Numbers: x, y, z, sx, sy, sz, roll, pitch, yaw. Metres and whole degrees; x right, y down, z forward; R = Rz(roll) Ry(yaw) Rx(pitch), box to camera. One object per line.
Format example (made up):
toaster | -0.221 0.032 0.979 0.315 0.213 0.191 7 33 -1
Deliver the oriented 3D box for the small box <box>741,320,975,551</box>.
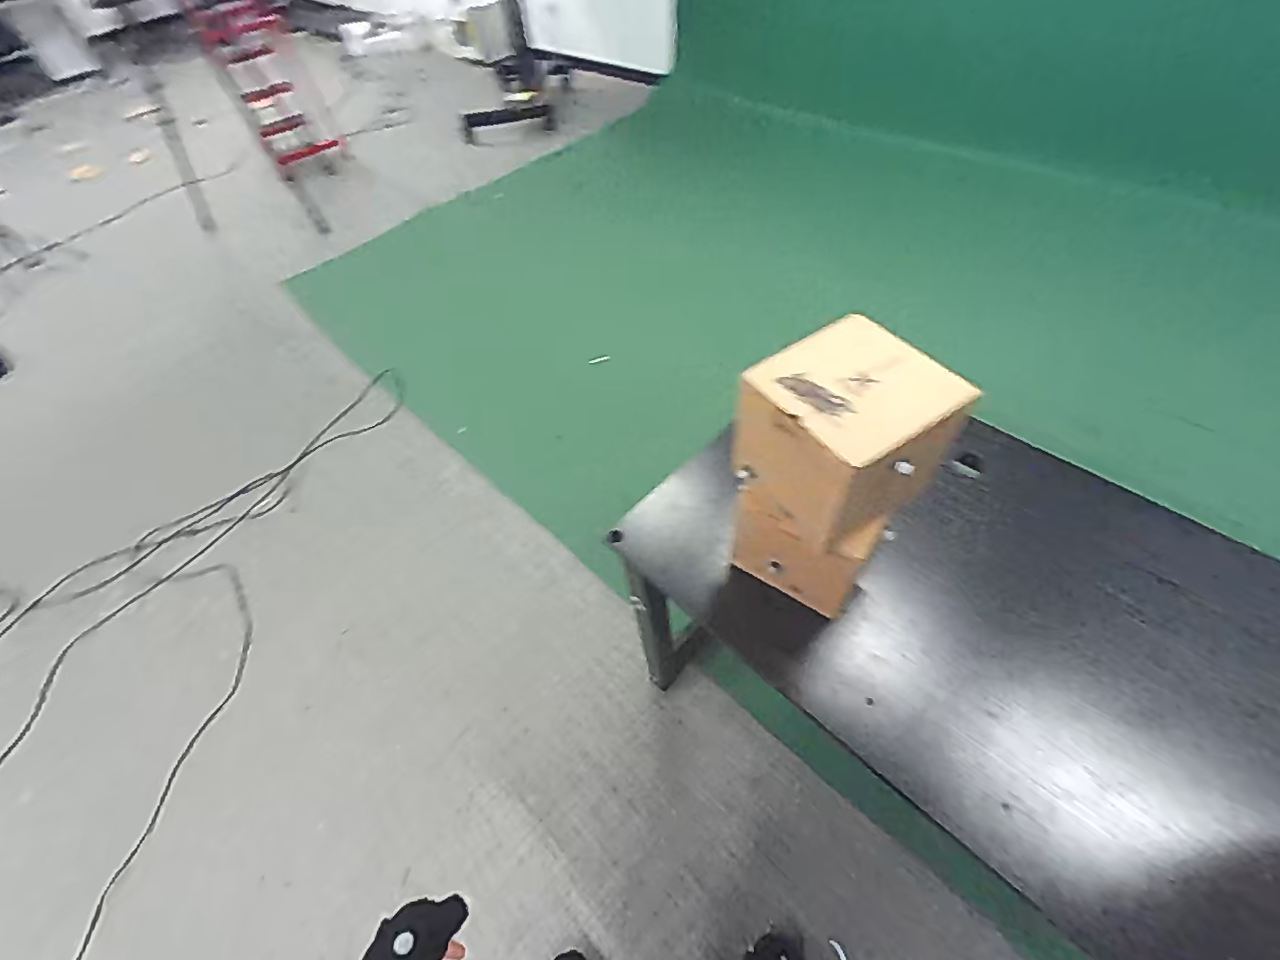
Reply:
small box | 0.233 -0.048 0.629 0.179 0.176 0.168 -29 56 -16

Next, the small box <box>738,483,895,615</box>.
small box | 0.249 0.053 0.758 0.168 0.176 0.179 29 62 24
